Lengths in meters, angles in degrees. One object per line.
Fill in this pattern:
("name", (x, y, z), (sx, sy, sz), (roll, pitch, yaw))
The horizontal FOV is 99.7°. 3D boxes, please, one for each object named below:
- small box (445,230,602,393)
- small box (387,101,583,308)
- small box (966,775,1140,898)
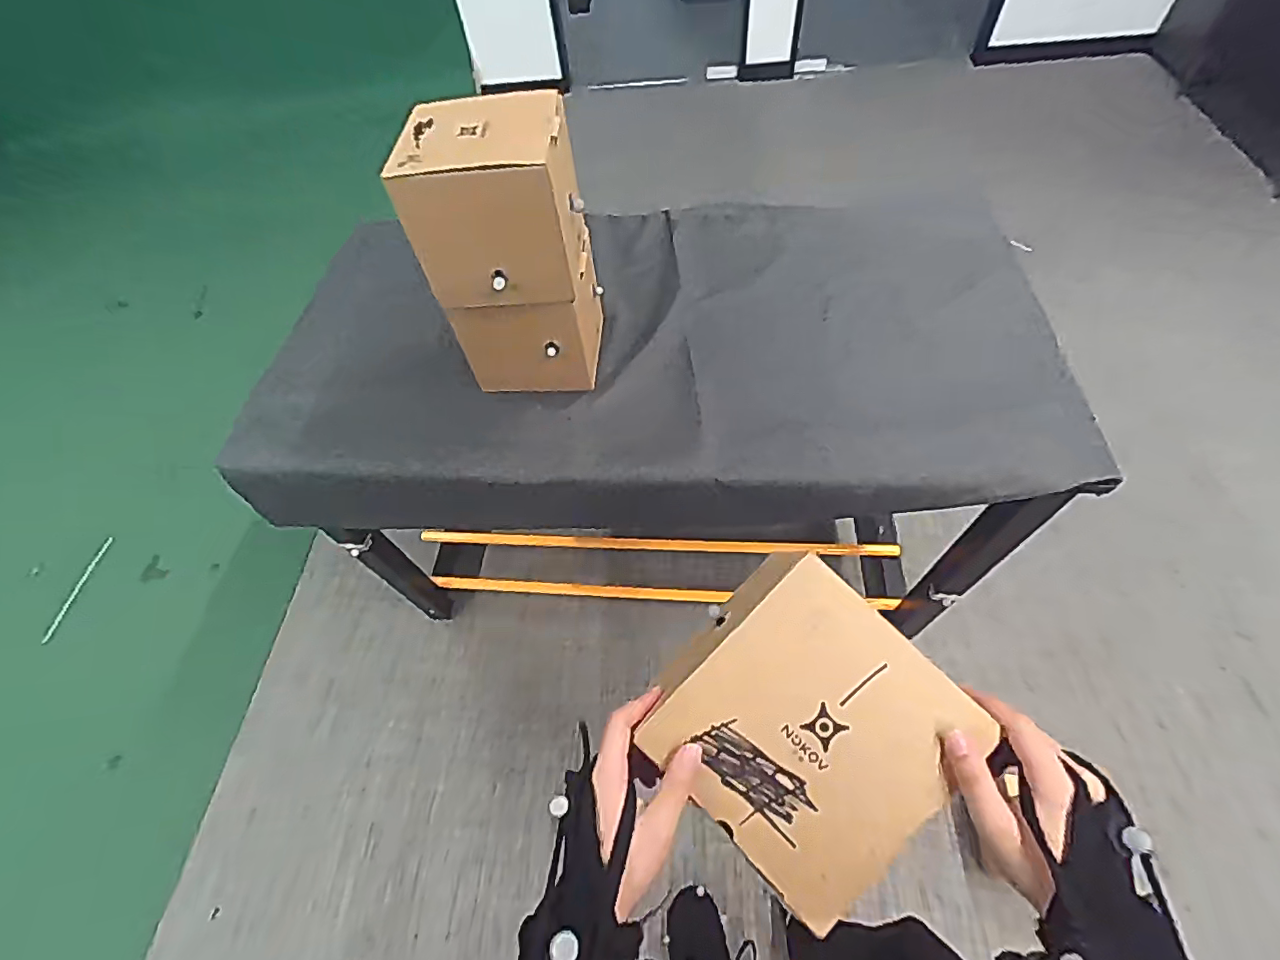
("small box", (-0.156, -0.242, 0.800), (0.179, 0.176, 0.168), (0, 55, 6))
("small box", (-0.169, -0.329, 0.660), (0.179, 0.176, 0.168), (-2, 55, 3))
("small box", (0.744, 0.652, 0.998), (0.179, 0.176, 0.168), (1, 56, 7))
